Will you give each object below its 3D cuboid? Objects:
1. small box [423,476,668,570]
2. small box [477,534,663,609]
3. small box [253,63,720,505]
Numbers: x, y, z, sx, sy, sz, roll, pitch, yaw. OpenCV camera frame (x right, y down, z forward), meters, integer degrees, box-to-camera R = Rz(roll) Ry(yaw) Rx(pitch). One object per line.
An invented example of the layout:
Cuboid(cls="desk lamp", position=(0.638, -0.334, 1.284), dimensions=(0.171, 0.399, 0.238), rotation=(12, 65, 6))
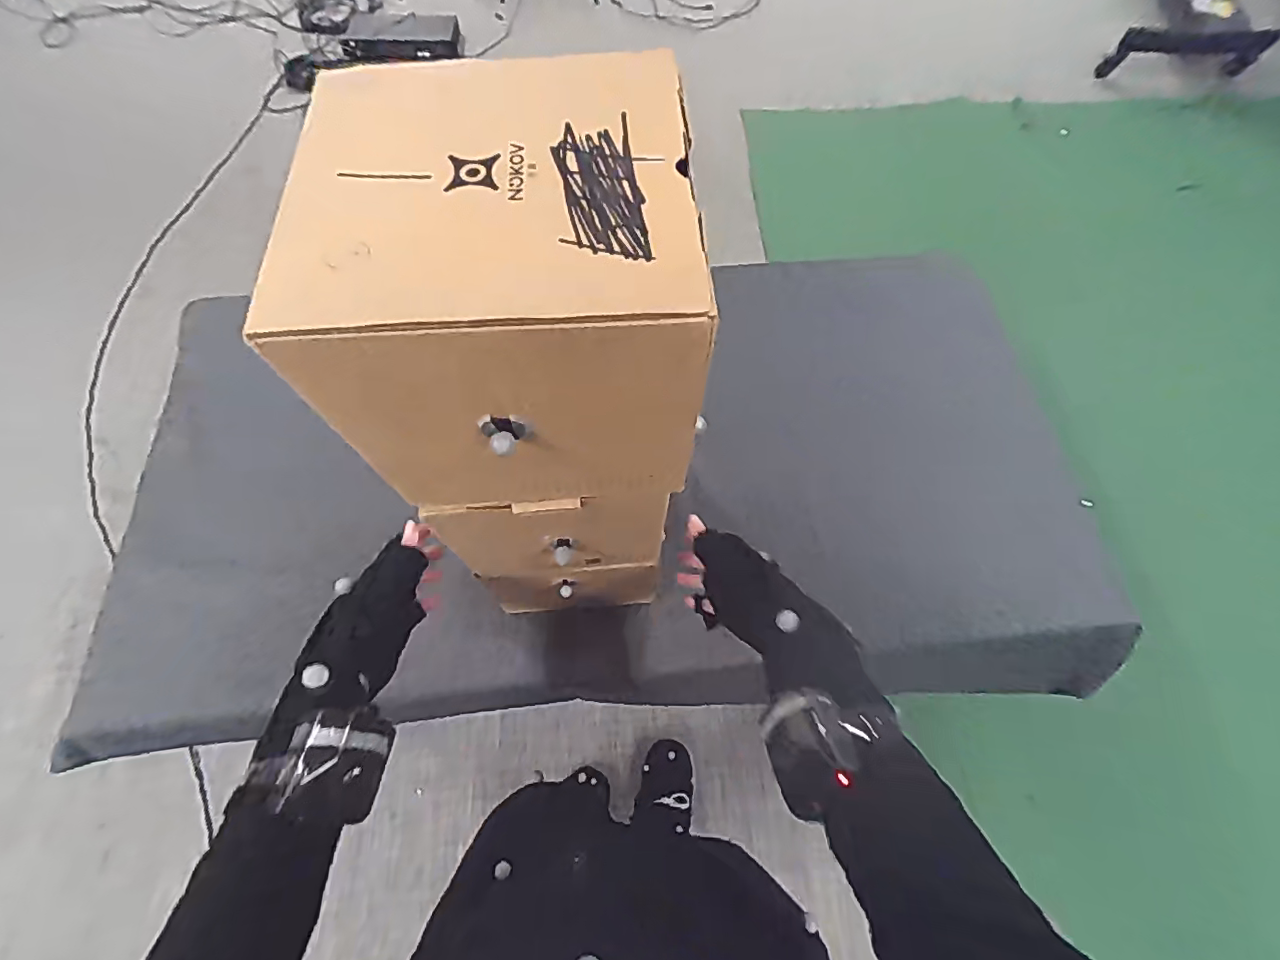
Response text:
Cuboid(cls="small box", position=(-0.069, -0.028, 0.457), dimensions=(0.168, 0.176, 0.179), rotation=(-6, 67, -3))
Cuboid(cls="small box", position=(-0.072, 0.043, 0.605), dimensions=(0.179, 0.176, 0.168), rotation=(-4, 66, -4))
Cuboid(cls="small box", position=(-0.061, -0.093, 0.305), dimensions=(0.179, 0.176, 0.168), rotation=(-3, 65, -1))
